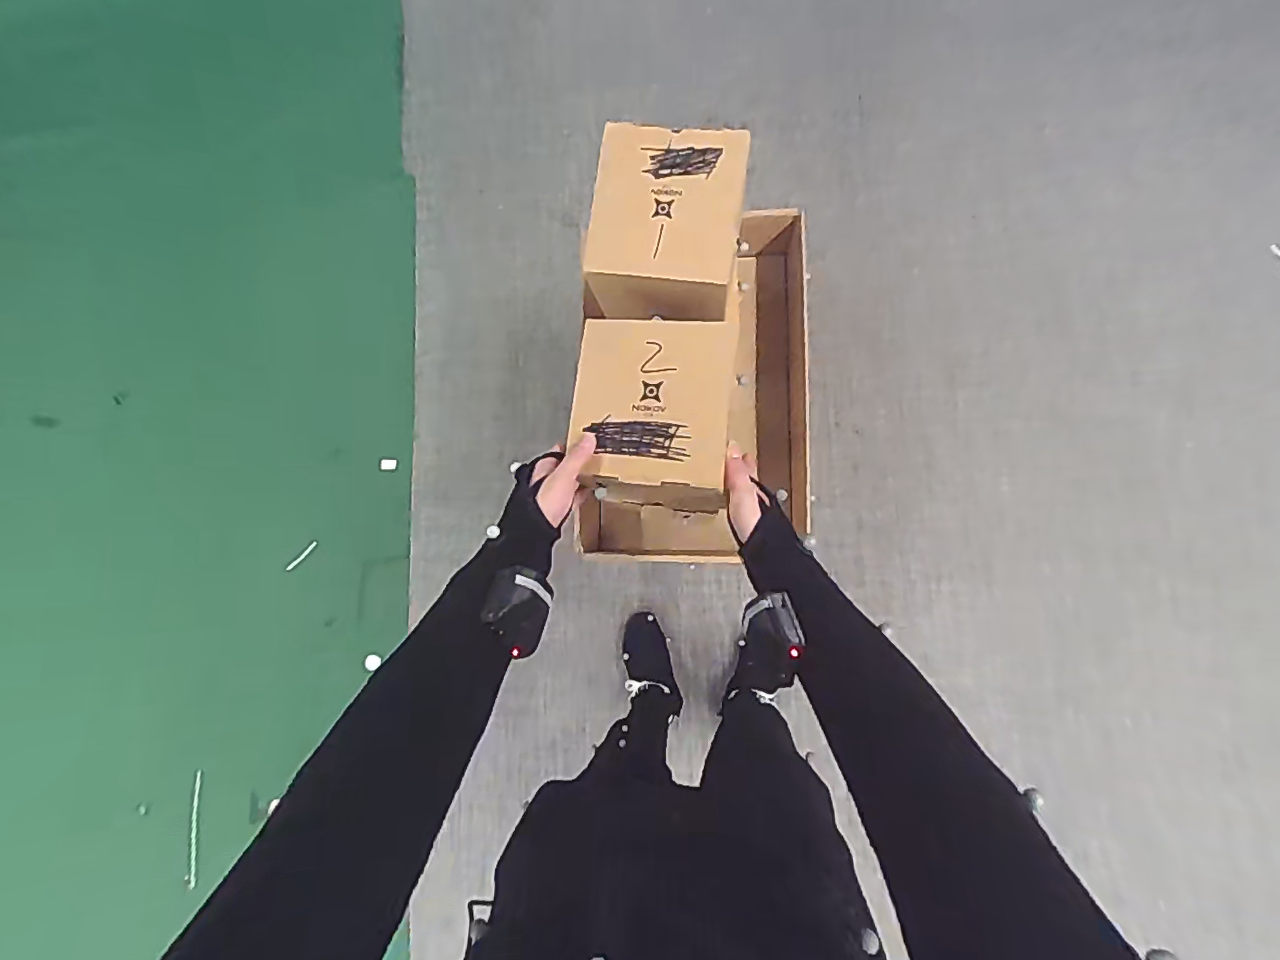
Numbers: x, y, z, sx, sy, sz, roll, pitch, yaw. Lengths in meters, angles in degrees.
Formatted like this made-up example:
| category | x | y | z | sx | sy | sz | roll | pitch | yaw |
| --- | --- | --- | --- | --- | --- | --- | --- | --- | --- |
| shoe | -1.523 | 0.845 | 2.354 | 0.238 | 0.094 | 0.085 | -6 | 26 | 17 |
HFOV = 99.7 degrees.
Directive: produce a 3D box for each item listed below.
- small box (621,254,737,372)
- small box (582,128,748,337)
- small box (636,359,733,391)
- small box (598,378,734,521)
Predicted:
| category | x | y | z | sx | sy | sz | roll | pitch | yaw |
| --- | --- | --- | --- | --- | --- | --- | --- | --- | --- |
| small box | 0.062 | -0.280 | 0.843 | 0.168 | 0.176 | 0.179 | -1 | 85 | 7 |
| small box | 0.036 | -0.300 | 0.681 | 0.168 | 0.176 | 0.179 | 8 | 87 | 8 |
| small box | 0.085 | -0.267 | 1.002 | 0.168 | 0.176 | 0.179 | -1 | 85 | 8 |
| small box | 0.045 | -0.036 | 0.811 | 0.168 | 0.176 | 0.179 | 8 | 83 | 8 |
